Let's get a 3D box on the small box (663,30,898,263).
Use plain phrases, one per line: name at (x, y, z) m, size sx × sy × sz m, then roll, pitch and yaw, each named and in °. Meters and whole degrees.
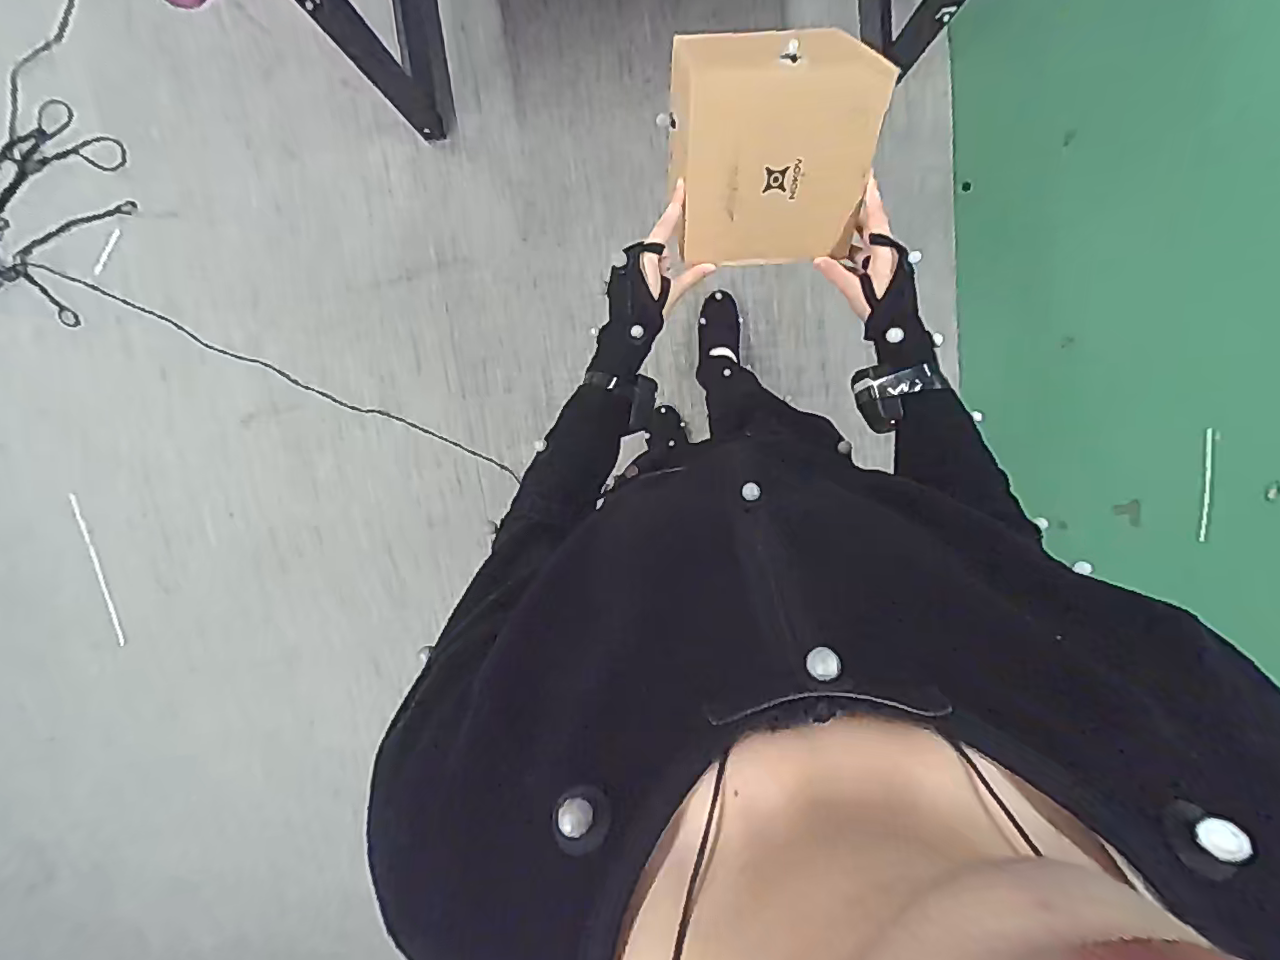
small box at (0.120, -0.339, 0.549) m, size 0.179 × 0.176 × 0.168 m, roll -3°, pitch 137°, yaw -2°
